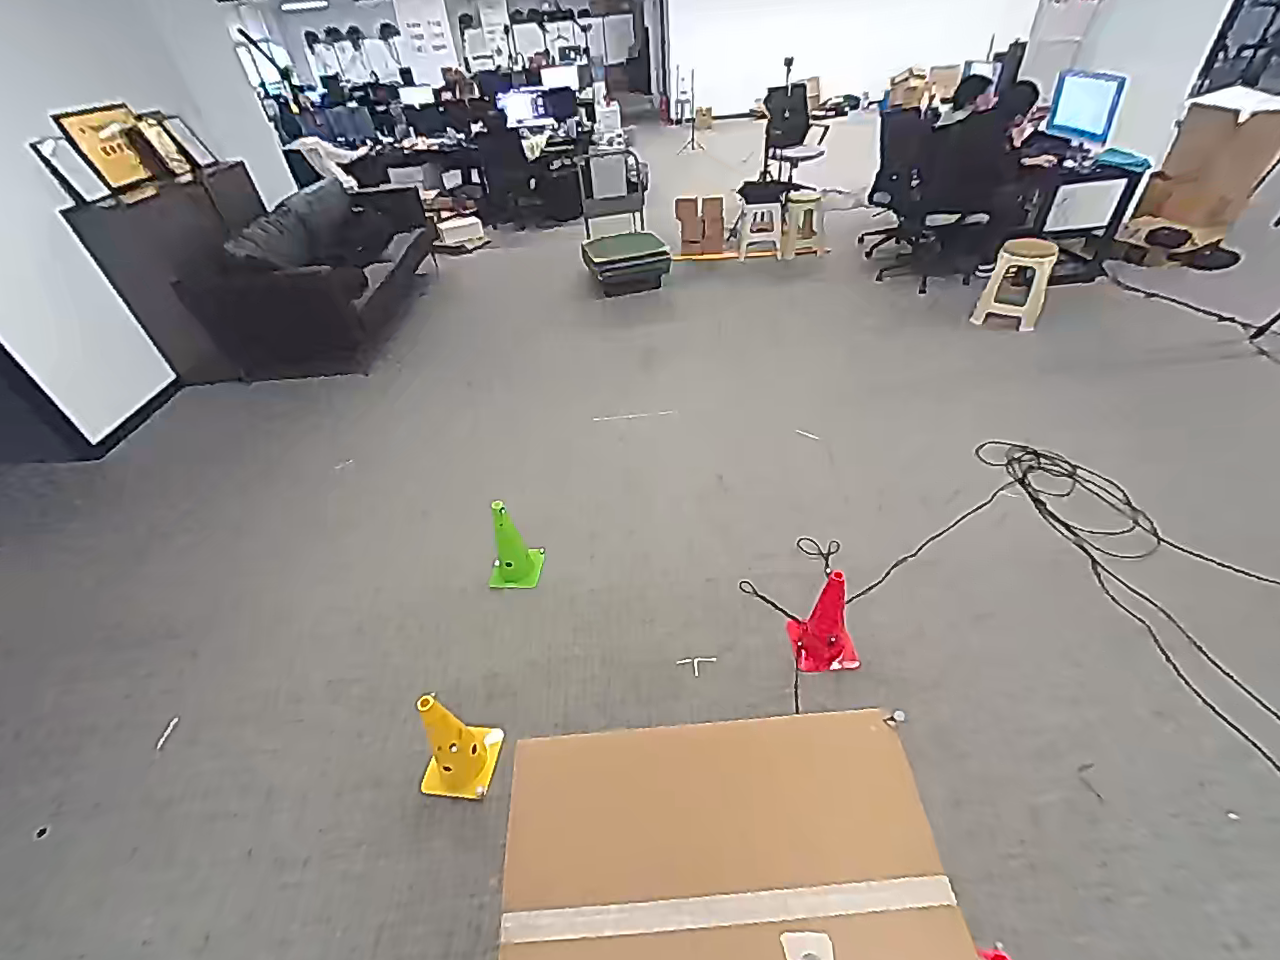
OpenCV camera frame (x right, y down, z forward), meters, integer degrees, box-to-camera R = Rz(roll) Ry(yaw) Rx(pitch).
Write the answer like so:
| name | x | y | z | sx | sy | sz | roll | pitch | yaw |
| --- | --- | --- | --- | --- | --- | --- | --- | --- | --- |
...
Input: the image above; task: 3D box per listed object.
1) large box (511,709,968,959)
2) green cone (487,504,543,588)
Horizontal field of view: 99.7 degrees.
| name | x | y | z | sx | sy | sz | roll | pitch | yaw |
| --- | --- | --- | --- | --- | --- | --- | --- | --- | --- |
| large box | 0.088 | 0.483 | 0.609 | 0.408 | 0.320 | 0.320 | -6 | 52 | 0 |
| green cone | -0.519 | 0.229 | 2.076 | 0.200 | 0.368 | 0.202 | -1 | 42 | 6 |
